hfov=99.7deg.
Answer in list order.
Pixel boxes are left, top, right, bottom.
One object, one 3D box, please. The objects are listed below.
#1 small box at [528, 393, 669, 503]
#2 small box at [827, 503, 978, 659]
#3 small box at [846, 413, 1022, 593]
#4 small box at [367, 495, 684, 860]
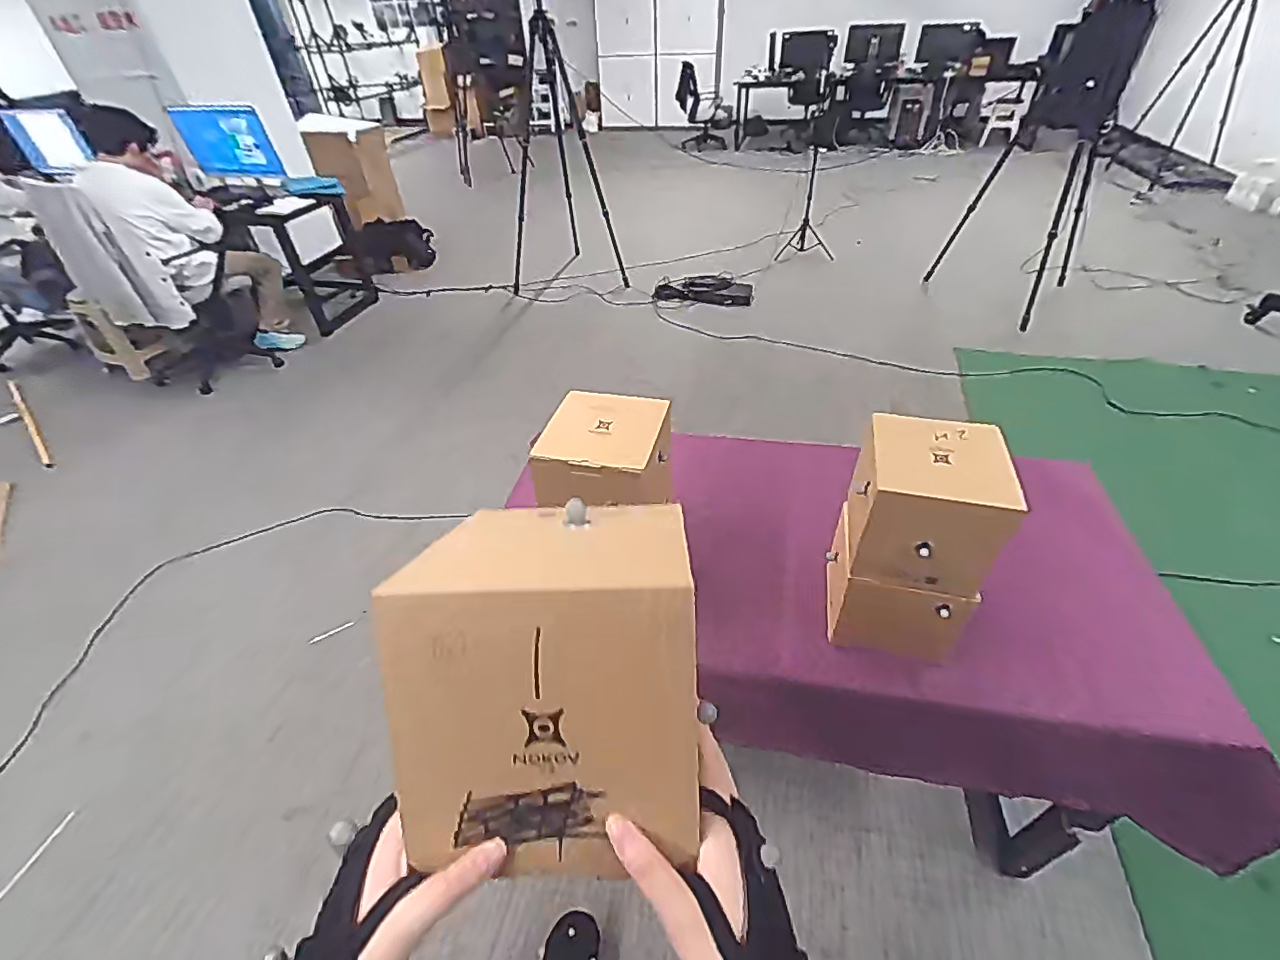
[{"bbox_3d":[-0.051,-0.012,0.835,0.168,0.176,0.179,8,42,13],"label":"small box"},{"bbox_3d":[0.397,0.160,0.855,0.179,0.176,0.168,8,42,12],"label":"small box"},{"bbox_3d":[0.390,0.032,0.751,0.168,0.176,0.179,9,42,14],"label":"small box"},{"bbox_3d":[-0.053,0.114,0.369,0.168,0.179,0.176,-2,10,3],"label":"small box"}]
